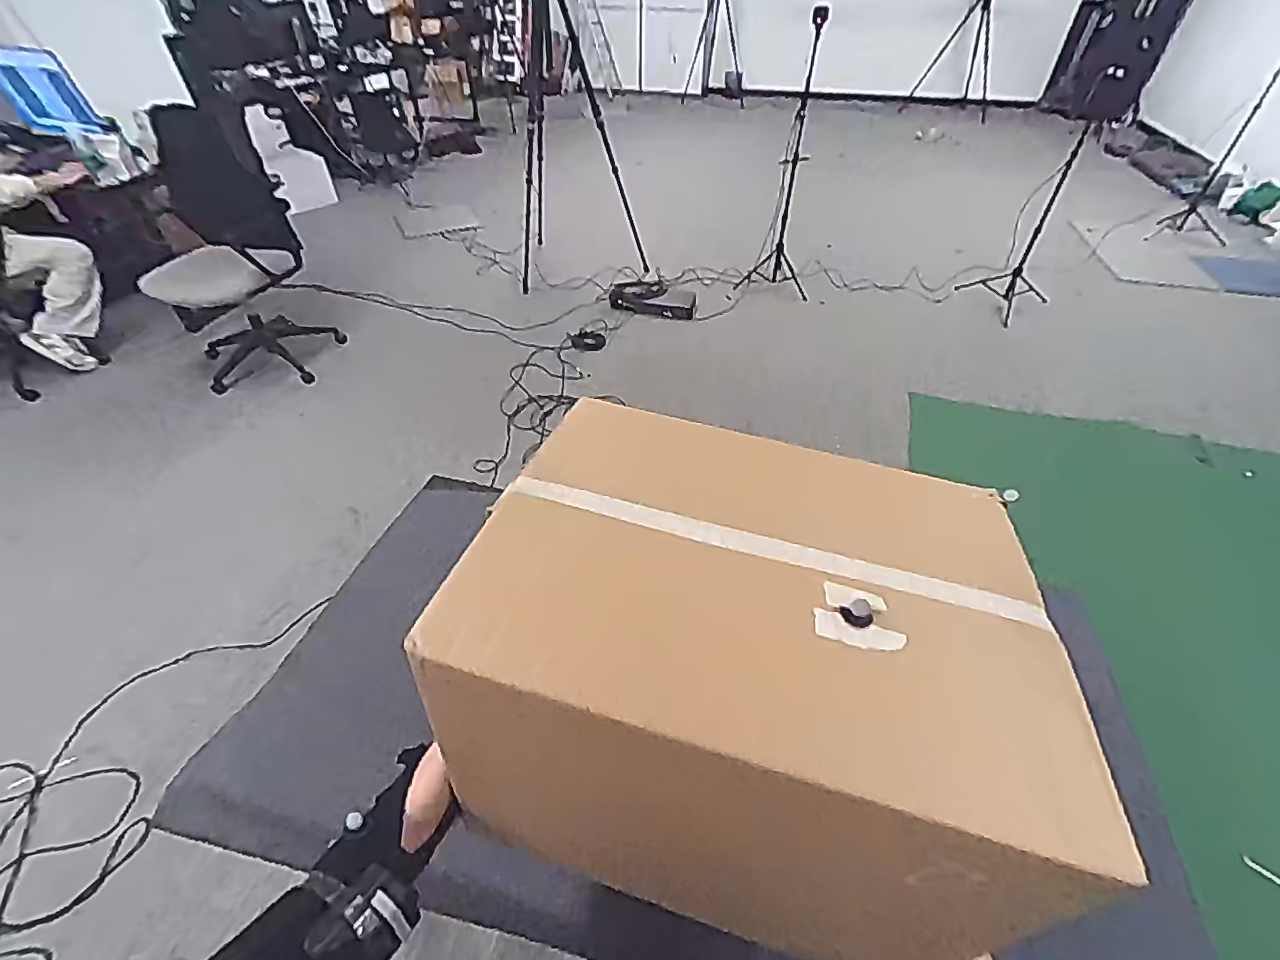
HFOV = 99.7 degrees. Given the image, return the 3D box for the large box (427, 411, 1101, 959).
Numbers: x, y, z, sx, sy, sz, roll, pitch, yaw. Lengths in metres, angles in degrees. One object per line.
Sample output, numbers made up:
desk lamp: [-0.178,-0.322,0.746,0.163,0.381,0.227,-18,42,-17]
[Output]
large box: [0.077,0.176,0.517,0.408,0.320,0.320,14,41,9]
